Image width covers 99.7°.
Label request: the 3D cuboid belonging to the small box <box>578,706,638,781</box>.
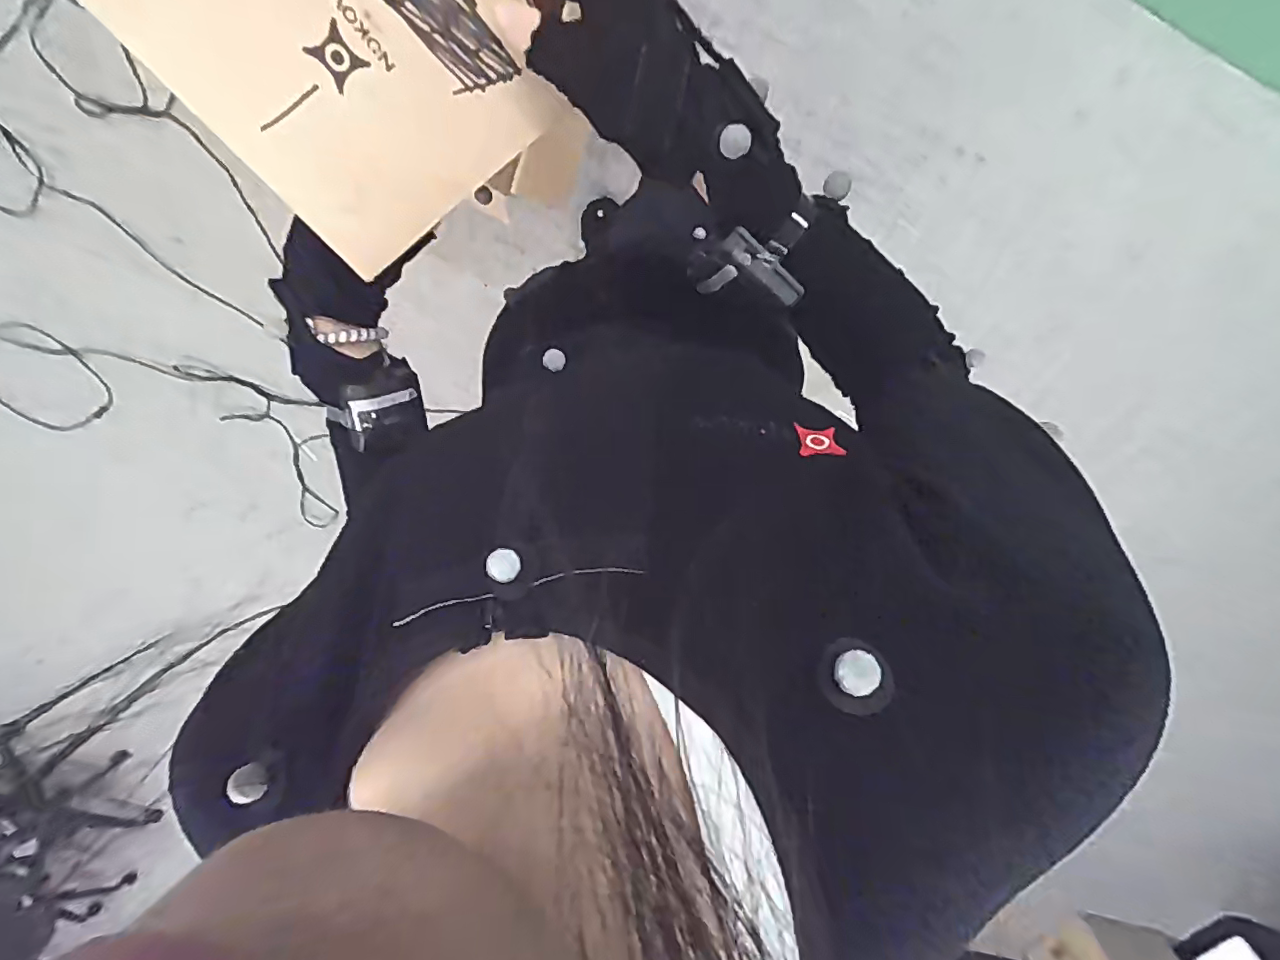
[{"bbox_3d":[-0.118,0.968,1.996,0.179,0.176,0.168,18,115,-11],"label":"small box"}]

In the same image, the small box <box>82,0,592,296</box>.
[{"bbox_3d":[-0.151,-0.255,0.331,0.179,0.176,0.168,-30,127,15],"label":"small box"}]
